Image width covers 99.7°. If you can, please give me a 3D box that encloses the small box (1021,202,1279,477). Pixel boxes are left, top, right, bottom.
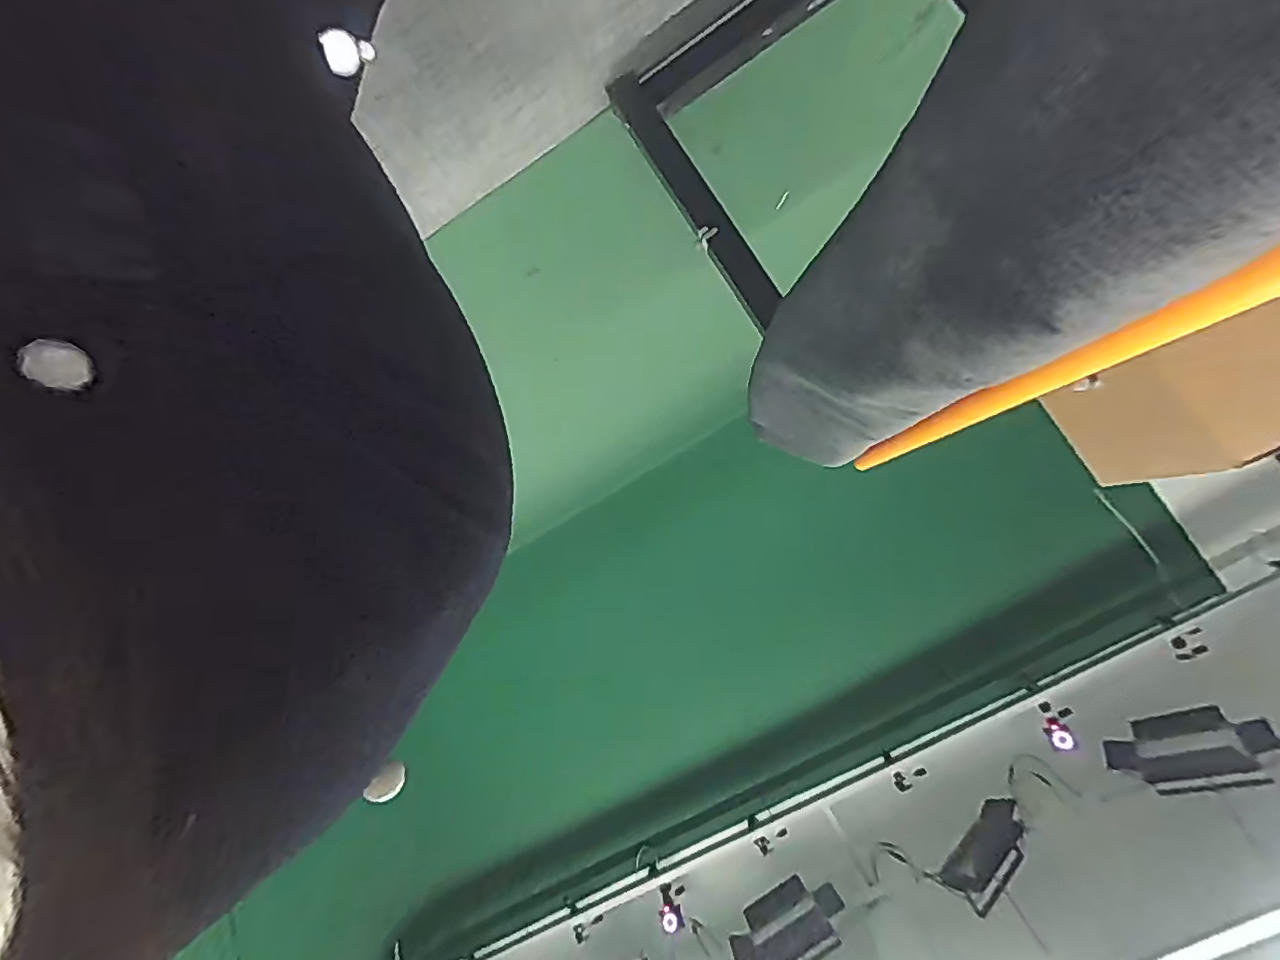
[{"bbox_3d":[0.521,-0.122,0.507,0.179,0.176,0.168,-30,172,6],"label":"small box"}]
